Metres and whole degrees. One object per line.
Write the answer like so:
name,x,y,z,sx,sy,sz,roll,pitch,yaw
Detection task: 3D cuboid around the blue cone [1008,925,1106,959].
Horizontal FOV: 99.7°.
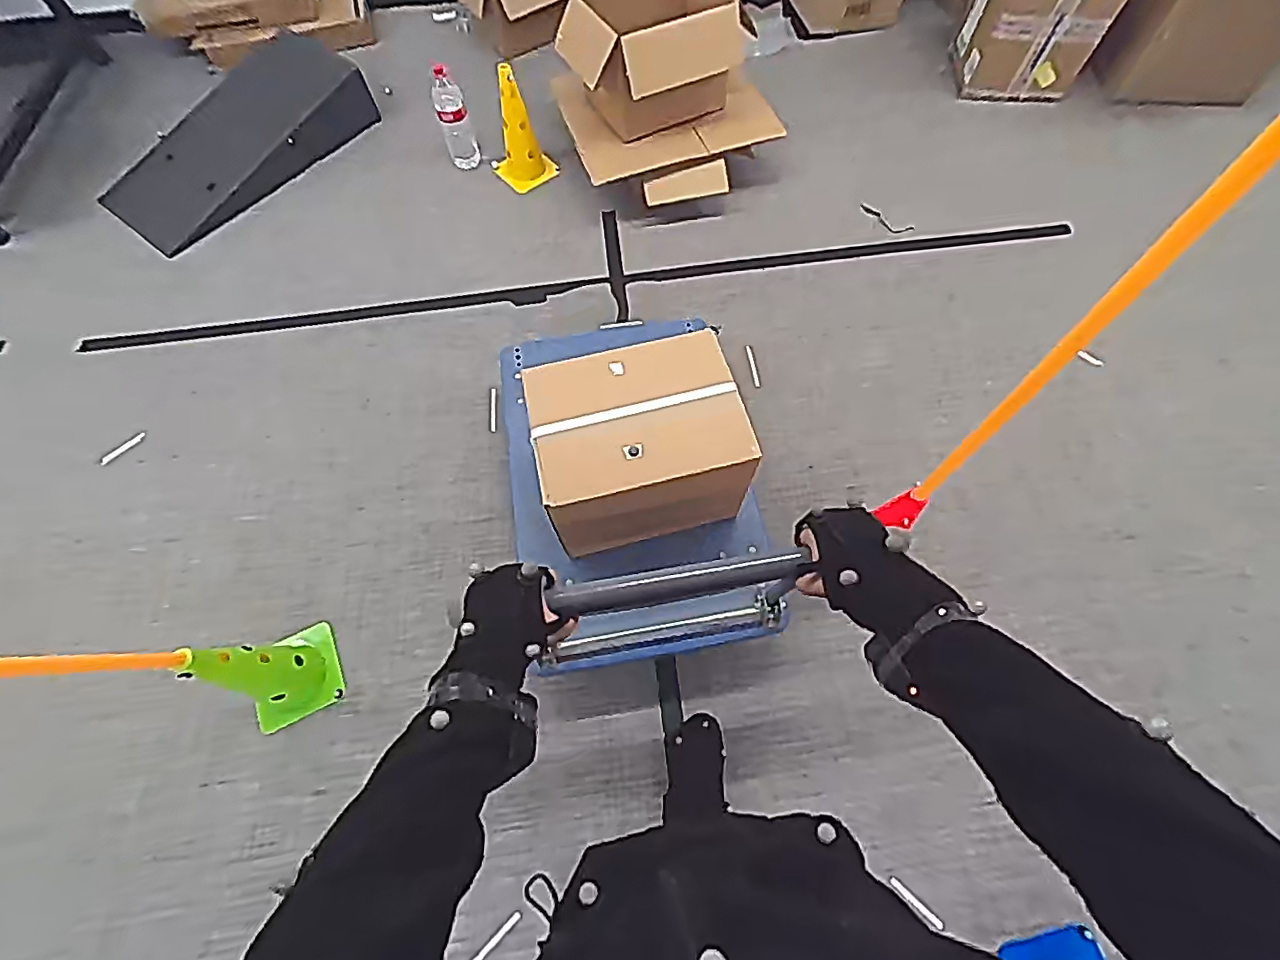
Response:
blue cone,0.818,0.911,0.880,0.193,0.380,0.192,-10,64,-4

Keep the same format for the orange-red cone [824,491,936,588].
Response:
orange-red cone,0.581,0.110,1.244,0.199,0.360,0.198,-1,65,0
